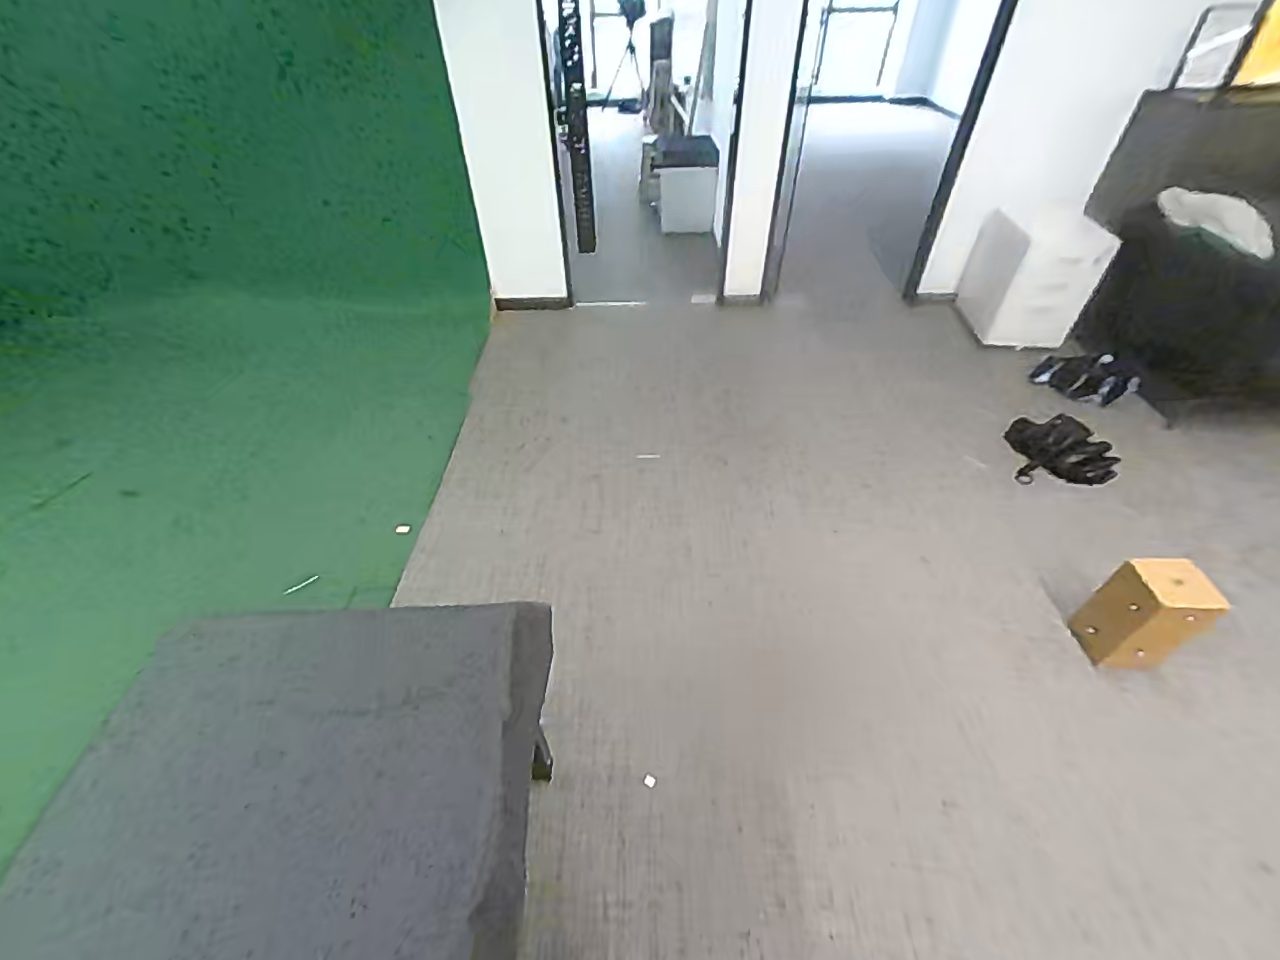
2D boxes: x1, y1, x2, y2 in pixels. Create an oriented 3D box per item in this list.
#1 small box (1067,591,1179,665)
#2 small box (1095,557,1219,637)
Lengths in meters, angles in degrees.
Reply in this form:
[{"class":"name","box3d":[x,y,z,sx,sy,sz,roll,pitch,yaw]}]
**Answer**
[{"class":"small box","box3d":[1.478,0.459,1.677,0.179,0.176,0.168,0,43,2]},{"class":"small box","box3d":[1.476,0.341,1.565,0.179,0.176,0.168,1,44,0]}]
